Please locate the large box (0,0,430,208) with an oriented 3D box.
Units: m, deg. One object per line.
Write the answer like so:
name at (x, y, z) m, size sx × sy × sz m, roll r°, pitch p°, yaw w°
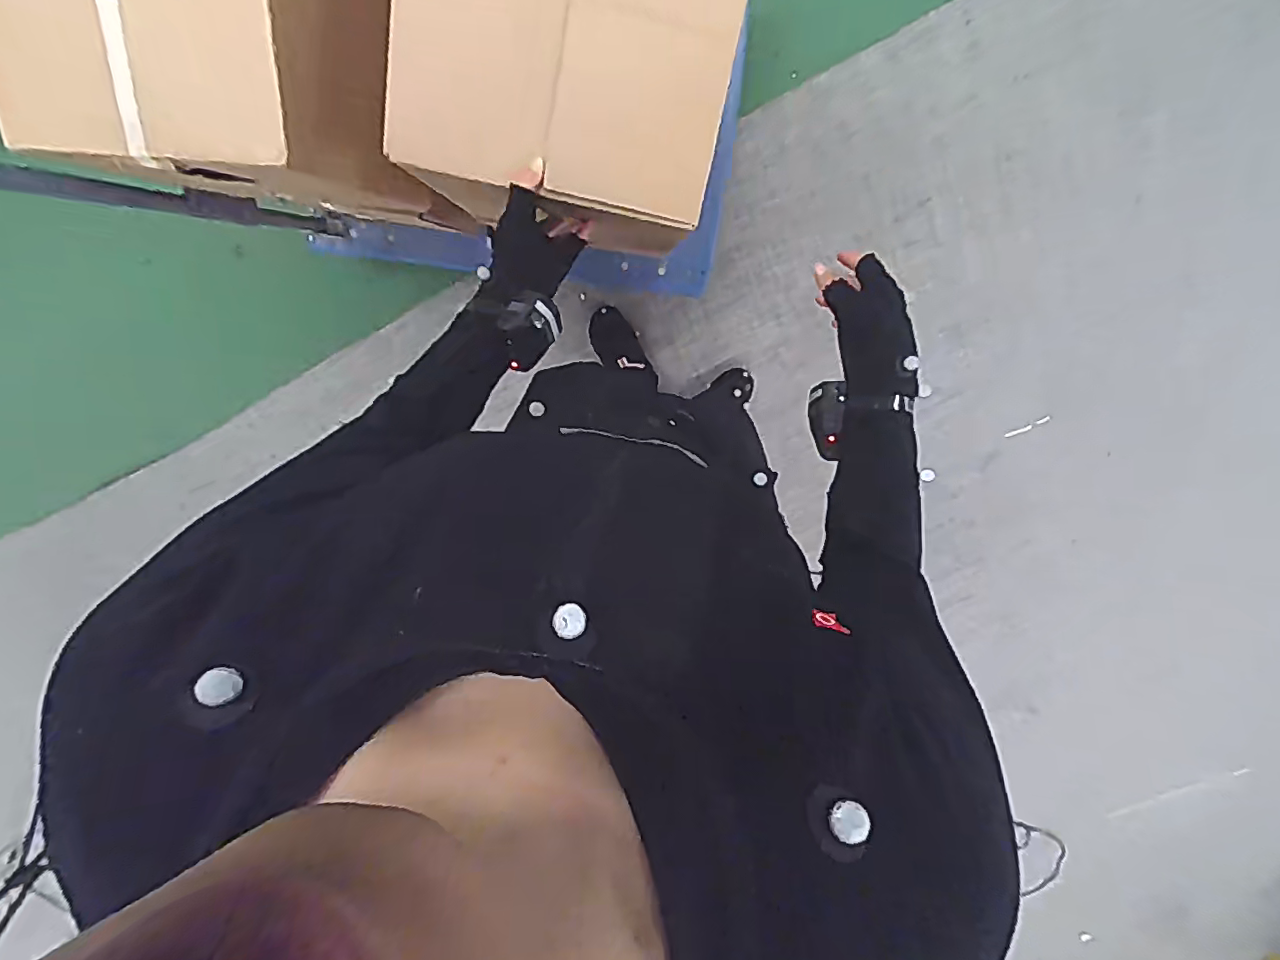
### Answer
large box at (-0.467, -0.561, 0.623) m, size 0.320 × 0.320 × 0.408 m, roll 6°, pitch 109°, yaw 4°
